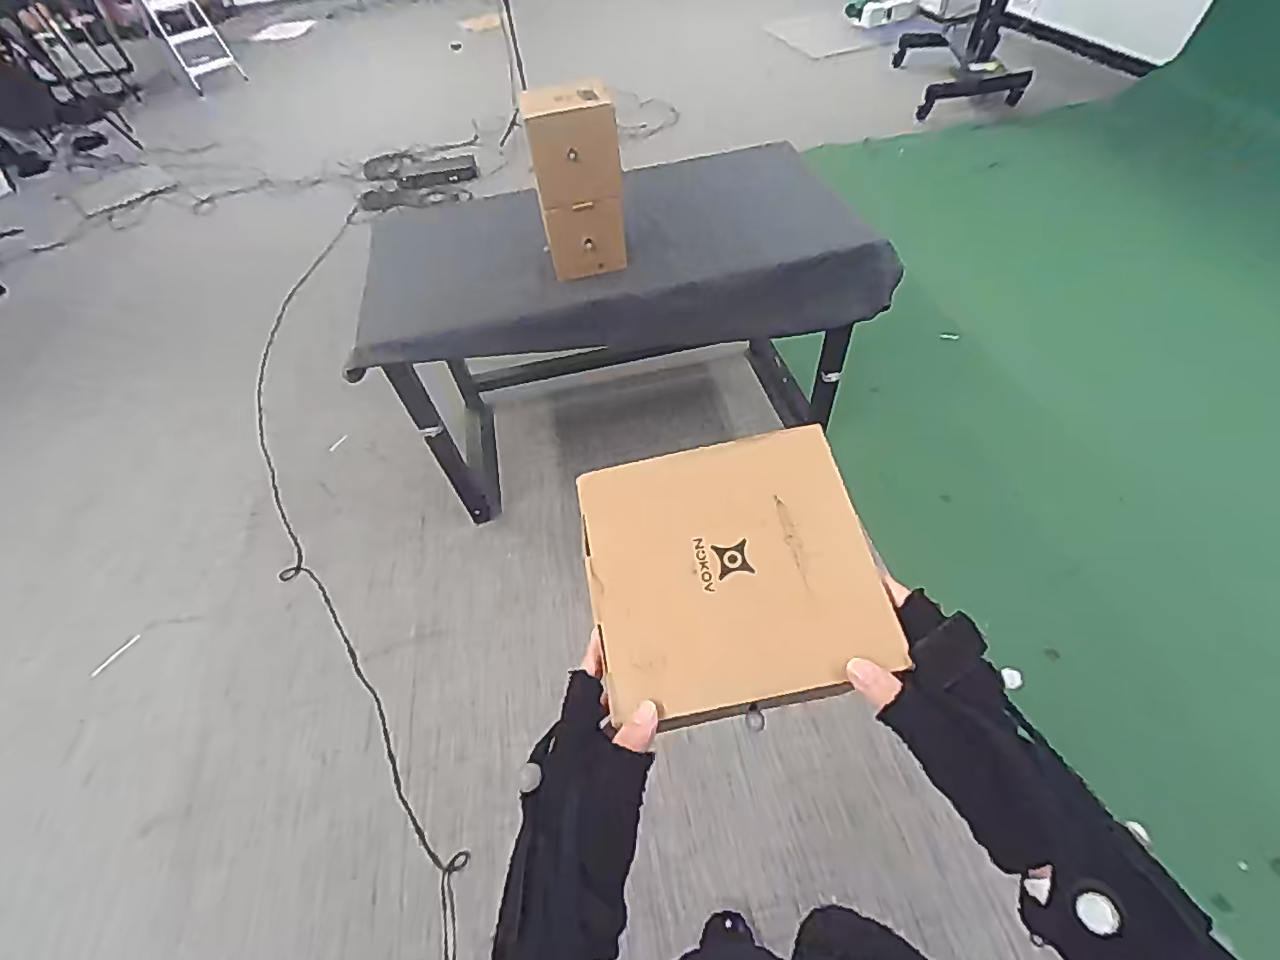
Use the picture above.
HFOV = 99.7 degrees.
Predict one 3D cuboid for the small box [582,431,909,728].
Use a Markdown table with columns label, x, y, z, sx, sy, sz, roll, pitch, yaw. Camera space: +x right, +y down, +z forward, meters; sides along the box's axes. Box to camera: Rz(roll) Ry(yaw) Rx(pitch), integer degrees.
| label | x | y | z | sx | sy | sz | roll | pitch | yaw |
| --- | --- | --- | --- | --- | --- | --- | --- | --- | --- |
| small box | 0.065 | 0.088 | 0.417 | 0.179 | 0.176 | 0.168 | -12 | 65 | -1 |

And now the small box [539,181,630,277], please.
| label | x | y | z | sx | sy | sz | roll | pitch | yaw |
| --- | --- | --- | --- | --- | --- | --- | --- | --- | --- |
| small box | -0.124 | -0.584 | 1.238 | 0.168 | 0.176 | 0.179 | -13 | 53 | -4 |

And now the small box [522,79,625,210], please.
| label | x | y | z | sx | sy | sz | roll | pitch | yaw |
| --- | --- | --- | --- | --- | --- | --- | --- | --- | --- |
| small box | -0.131 | -0.684 | 1.107 | 0.179 | 0.176 | 0.168 | -13 | 52 | -3 |
